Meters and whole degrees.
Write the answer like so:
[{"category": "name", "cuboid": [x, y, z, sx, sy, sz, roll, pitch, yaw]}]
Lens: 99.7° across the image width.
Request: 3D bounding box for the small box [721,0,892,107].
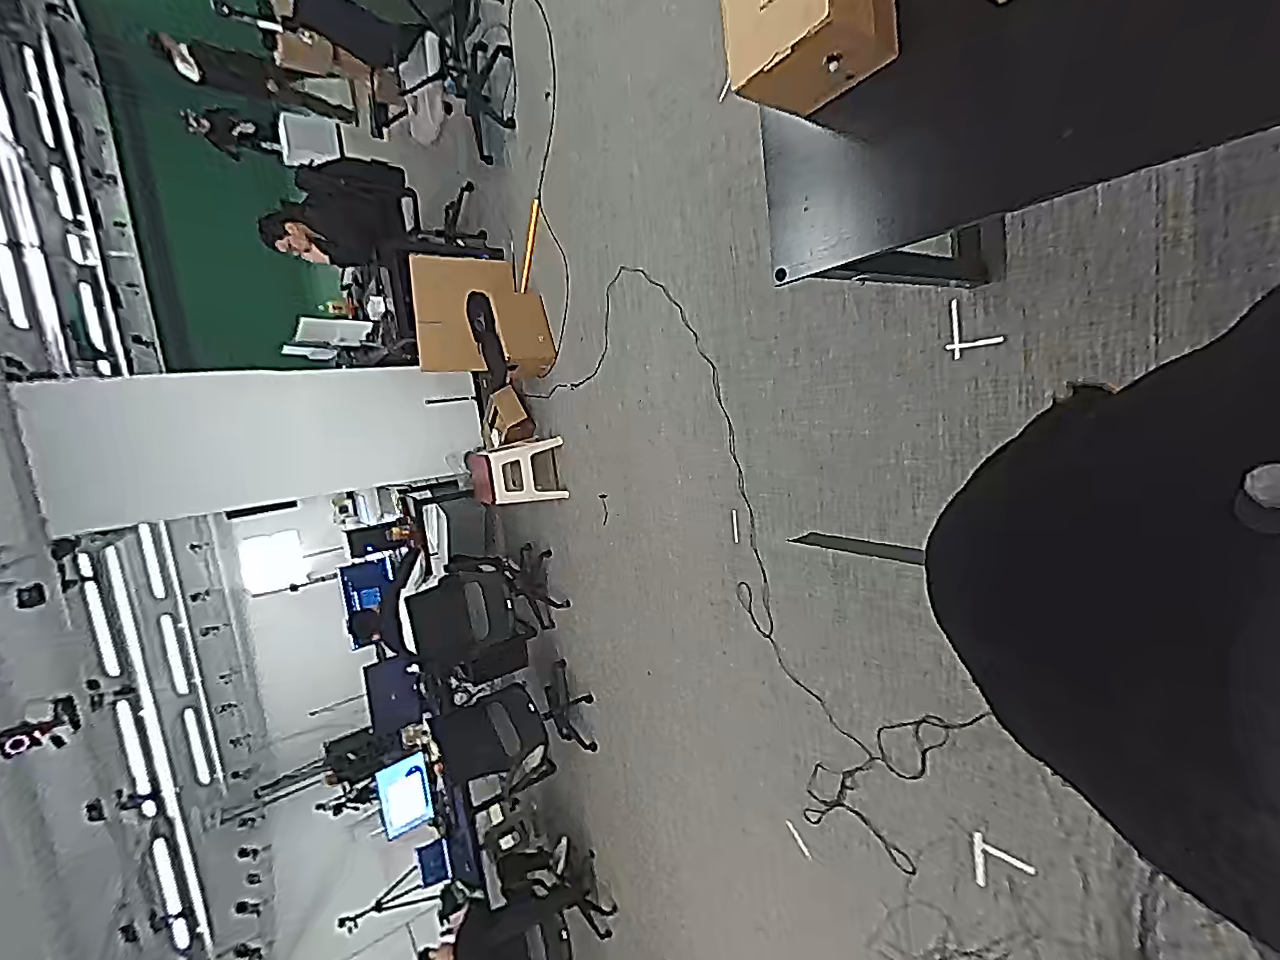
[{"category": "small box", "cuboid": [0.234, -0.661, 0.759, 0.168, 0.176, 0.179, 0, 99, 53]}]
